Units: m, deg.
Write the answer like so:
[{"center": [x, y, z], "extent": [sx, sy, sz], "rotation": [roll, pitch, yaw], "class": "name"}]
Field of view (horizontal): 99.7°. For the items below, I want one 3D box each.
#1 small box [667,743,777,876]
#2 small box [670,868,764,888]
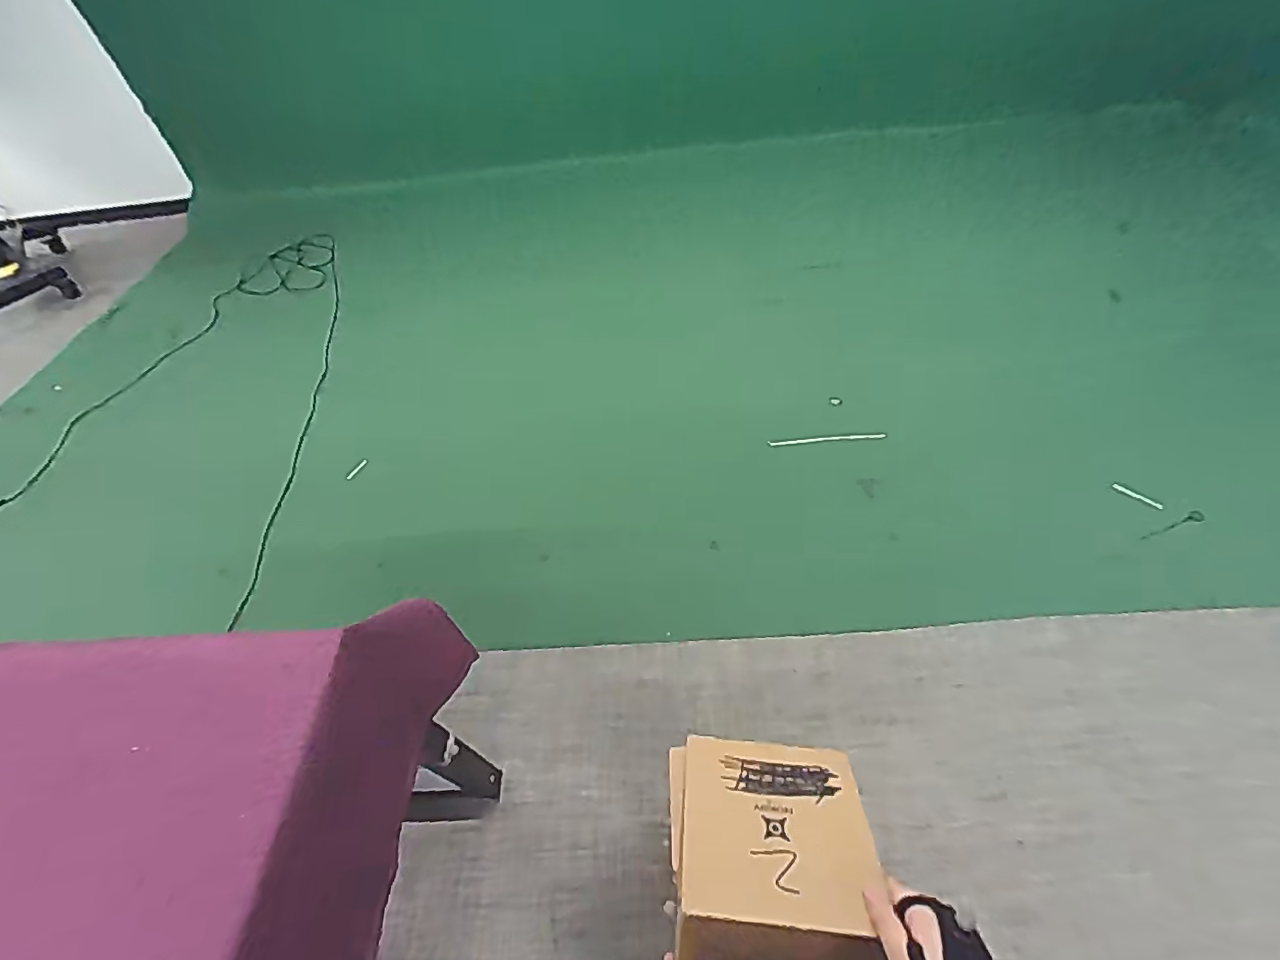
[{"center": [0.133, 0.565, 0.925], "extent": [0.168, 0.176, 0.179], "rotation": [-2, 50, 4], "class": "small box"}, {"center": [0.147, 0.675, 1.045], "extent": [0.168, 0.176, 0.179], "rotation": [-1, 50, 6], "class": "small box"}]
